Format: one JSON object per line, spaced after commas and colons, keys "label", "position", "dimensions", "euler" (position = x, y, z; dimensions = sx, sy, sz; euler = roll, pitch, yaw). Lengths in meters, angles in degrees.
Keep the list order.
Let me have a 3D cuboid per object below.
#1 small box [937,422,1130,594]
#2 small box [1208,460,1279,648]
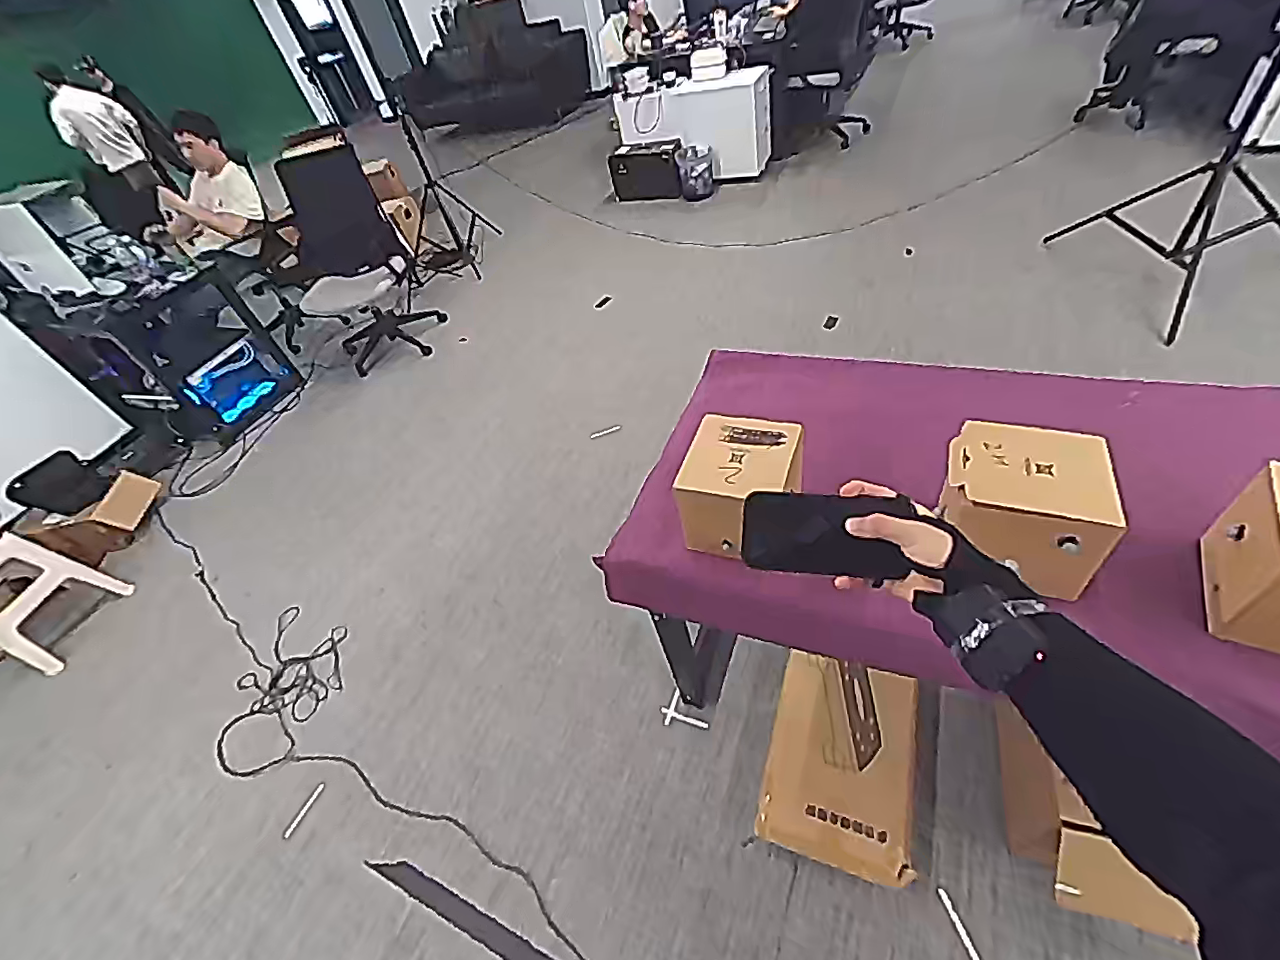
{"label": "small box", "position": [0.544, 0.041, 0.774], "dimensions": [0.179, 0.176, 0.168], "euler": [9, 48, 23]}
{"label": "small box", "position": [0.825, 0.105, 0.638], "dimensions": [0.179, 0.176, 0.168], "euler": [15, 53, 27]}
